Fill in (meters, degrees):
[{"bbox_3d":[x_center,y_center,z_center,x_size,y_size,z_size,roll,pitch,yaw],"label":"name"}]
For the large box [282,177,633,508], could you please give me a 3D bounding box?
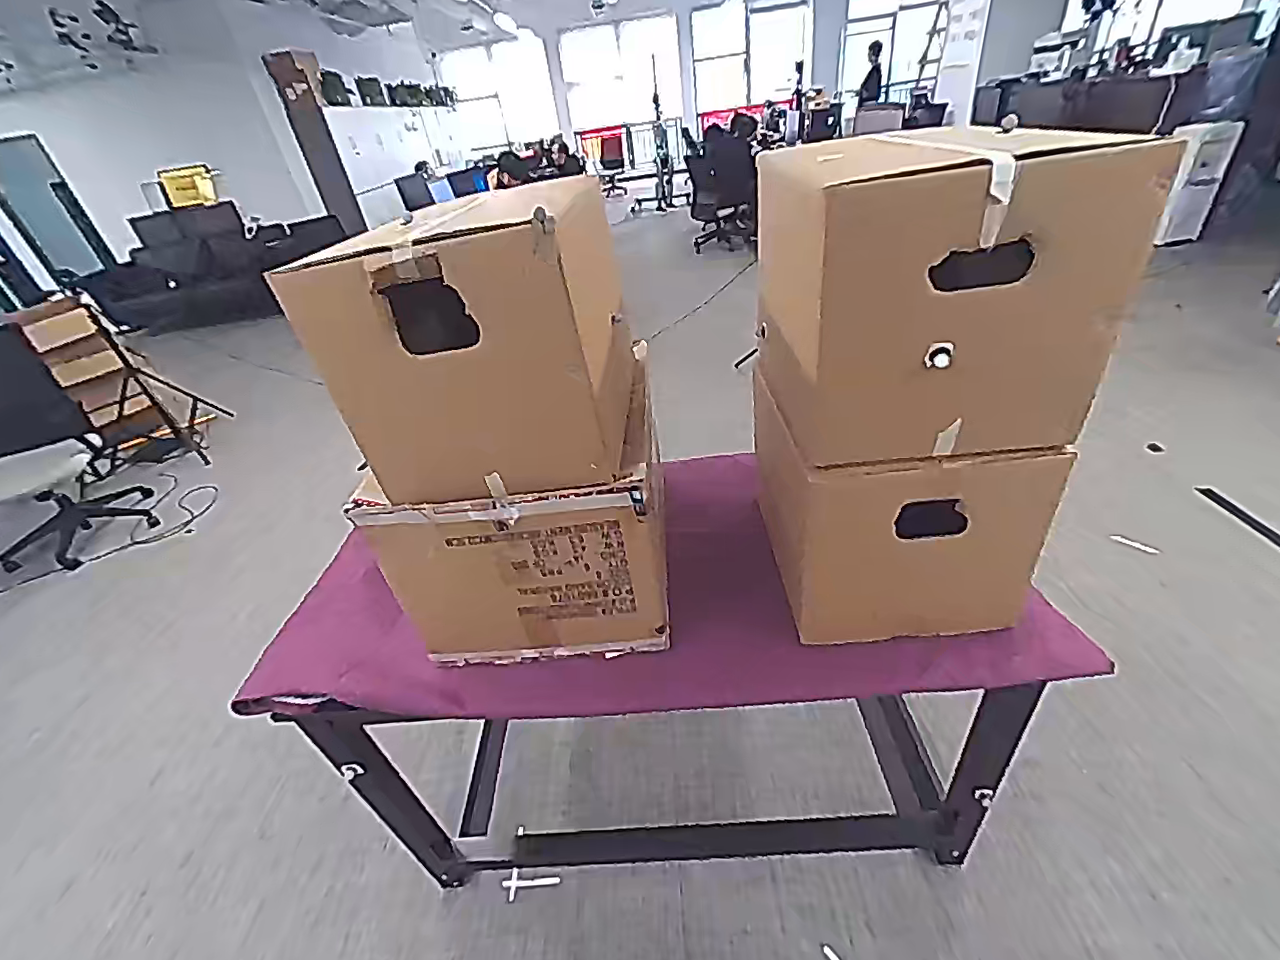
[{"bbox_3d":[-0.188,-0.214,0.775,0.320,0.320,0.408,-8,34,8],"label":"large box"}]
